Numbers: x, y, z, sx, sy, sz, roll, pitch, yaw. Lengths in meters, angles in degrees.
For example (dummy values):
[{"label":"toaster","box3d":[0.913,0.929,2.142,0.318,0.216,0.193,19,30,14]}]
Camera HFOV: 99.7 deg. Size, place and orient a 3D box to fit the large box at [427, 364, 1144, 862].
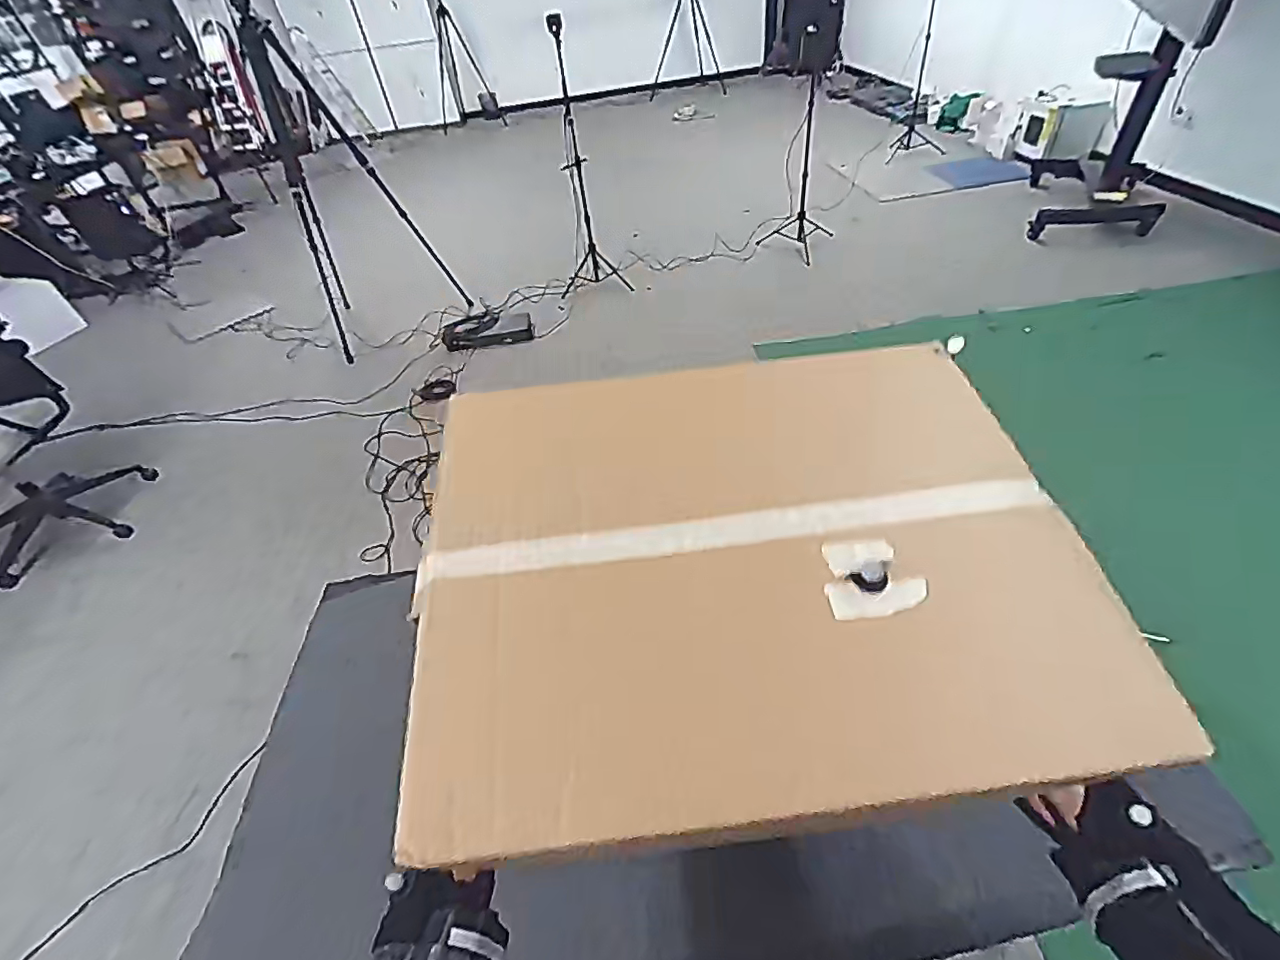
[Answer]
[{"label":"large box","box3d":[0.069,0.131,0.494,0.408,0.320,0.320,-6,55,-2]}]
